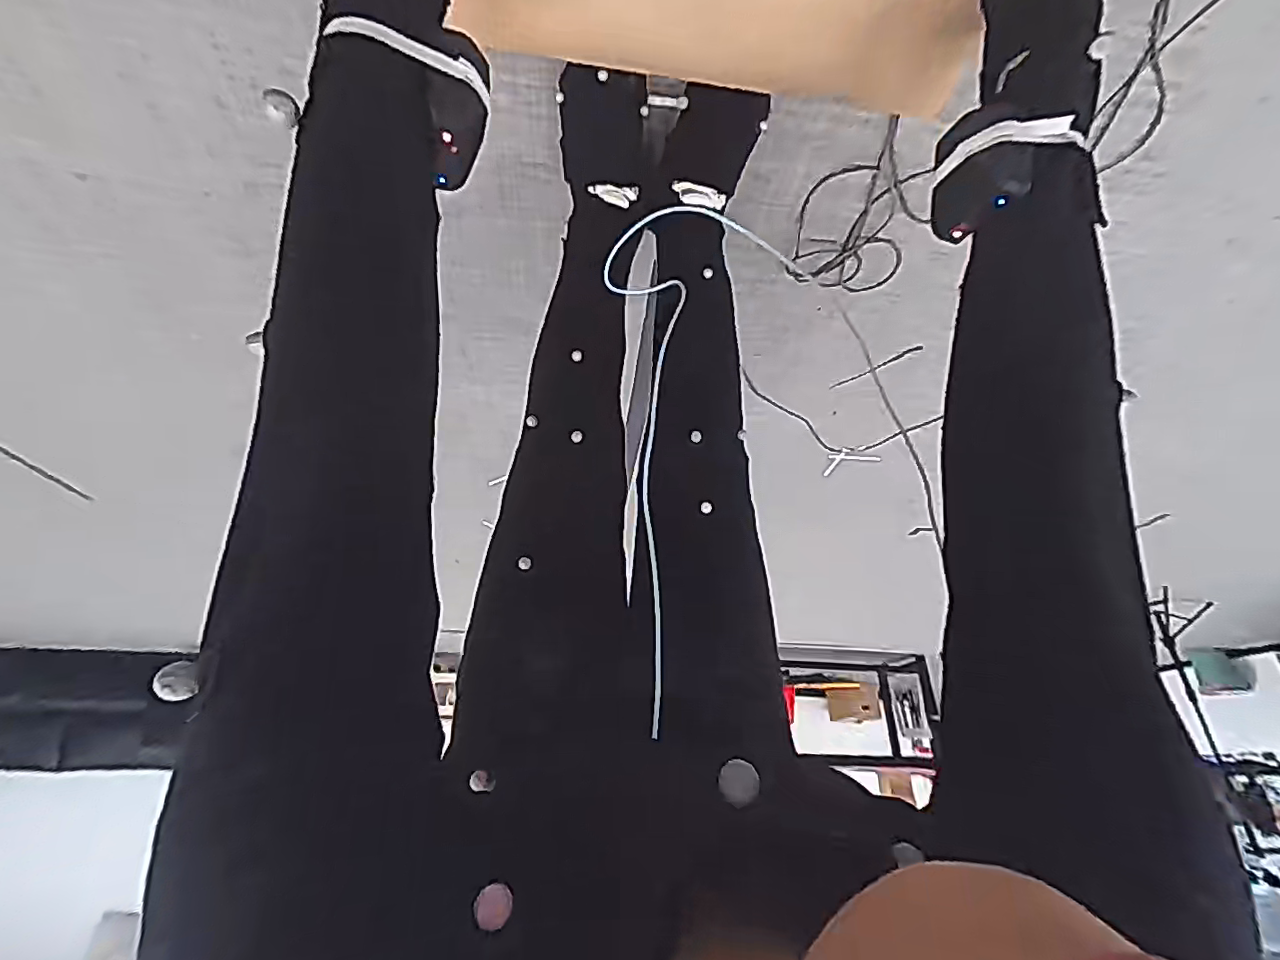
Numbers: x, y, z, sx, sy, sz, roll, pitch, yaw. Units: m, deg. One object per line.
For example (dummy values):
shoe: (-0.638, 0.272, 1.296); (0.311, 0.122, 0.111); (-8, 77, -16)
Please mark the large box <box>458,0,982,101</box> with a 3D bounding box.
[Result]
large box: (0.072, -0.544, 0.398); (0.408, 0.320, 0.320); (5, 149, -6)
